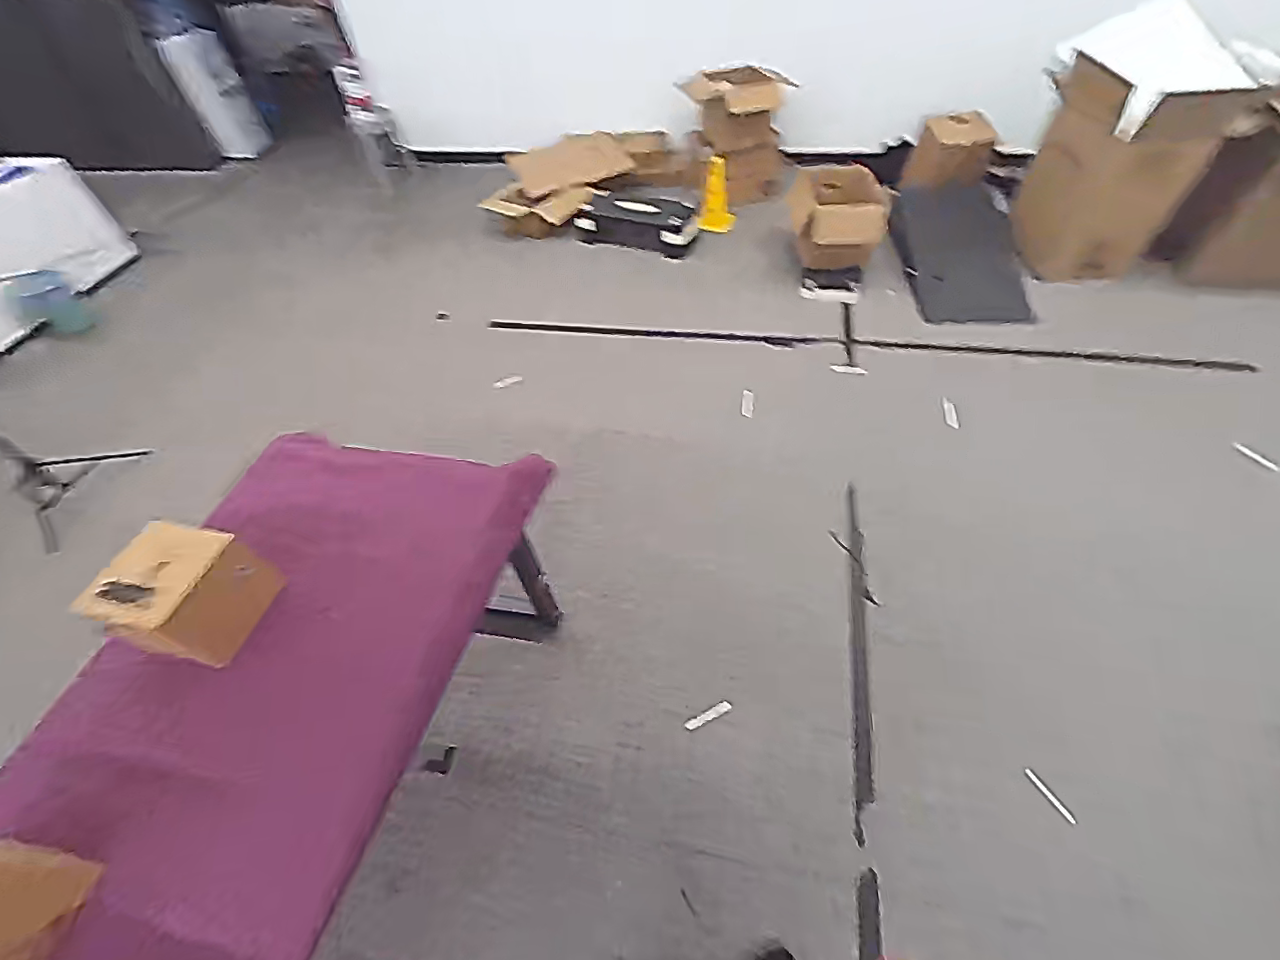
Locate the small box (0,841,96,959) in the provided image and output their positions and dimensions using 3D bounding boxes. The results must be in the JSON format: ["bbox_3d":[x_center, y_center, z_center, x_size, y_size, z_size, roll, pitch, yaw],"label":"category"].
[{"bbox_3d":[-0.861,0.555,0.670,0.179,0.176,0.168,6,52,10],"label":"small box"}]
